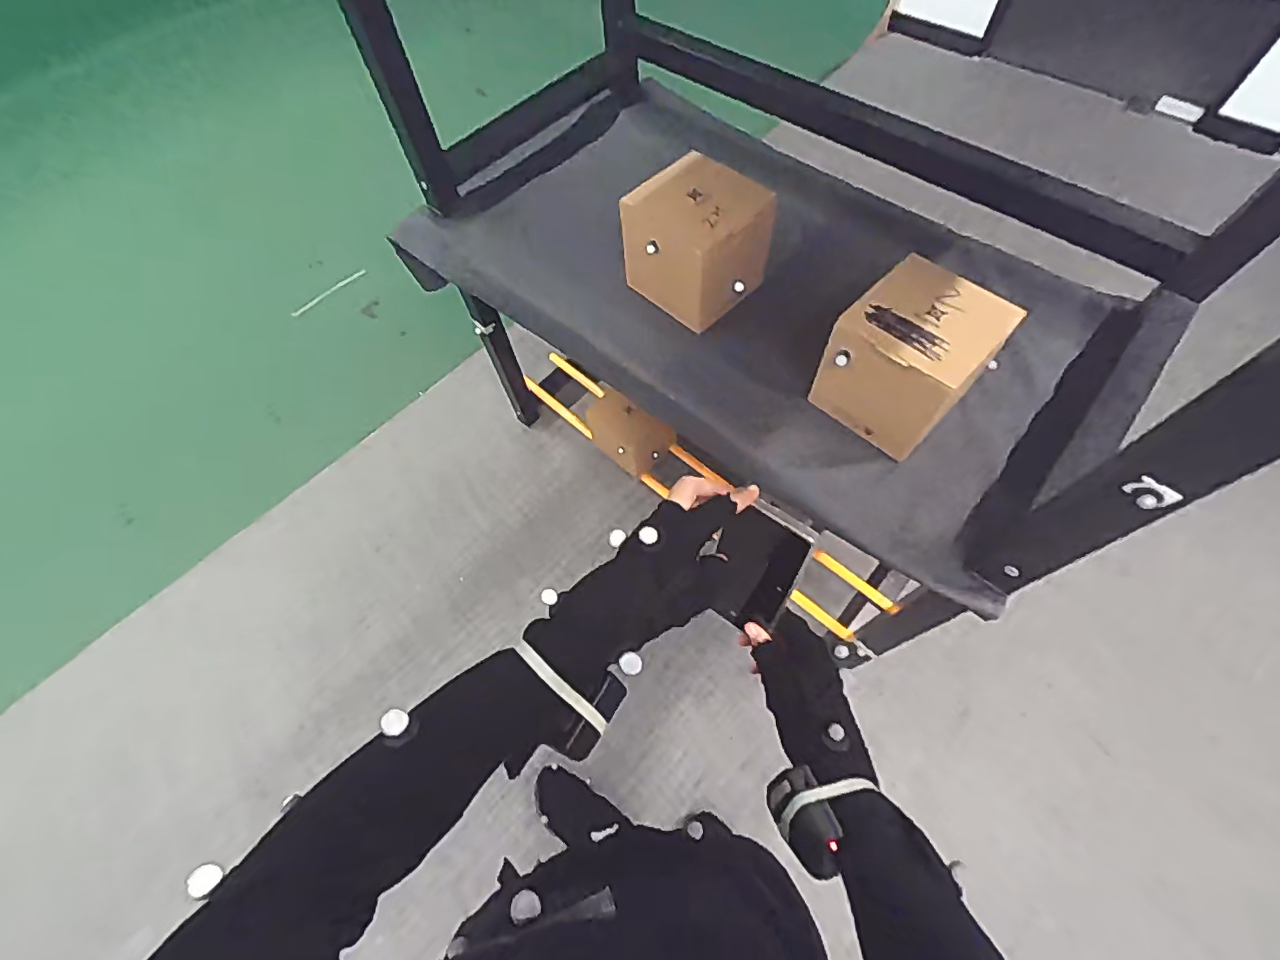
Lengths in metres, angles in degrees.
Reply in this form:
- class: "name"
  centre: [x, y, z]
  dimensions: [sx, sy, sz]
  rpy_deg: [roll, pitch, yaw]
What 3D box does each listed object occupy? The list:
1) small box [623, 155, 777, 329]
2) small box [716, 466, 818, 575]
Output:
- class: "small box"
  centre: [0.093, -0.382, 0.883]
  dimensions: [0.168, 0.176, 0.179]
  rpy_deg: [-42, 68, -17]
- class: "small box"
  centre: [0.302, 0.105, 1.321]
  dimensions: [0.179, 0.176, 0.168]
  rpy_deg: [-42, 68, -17]
